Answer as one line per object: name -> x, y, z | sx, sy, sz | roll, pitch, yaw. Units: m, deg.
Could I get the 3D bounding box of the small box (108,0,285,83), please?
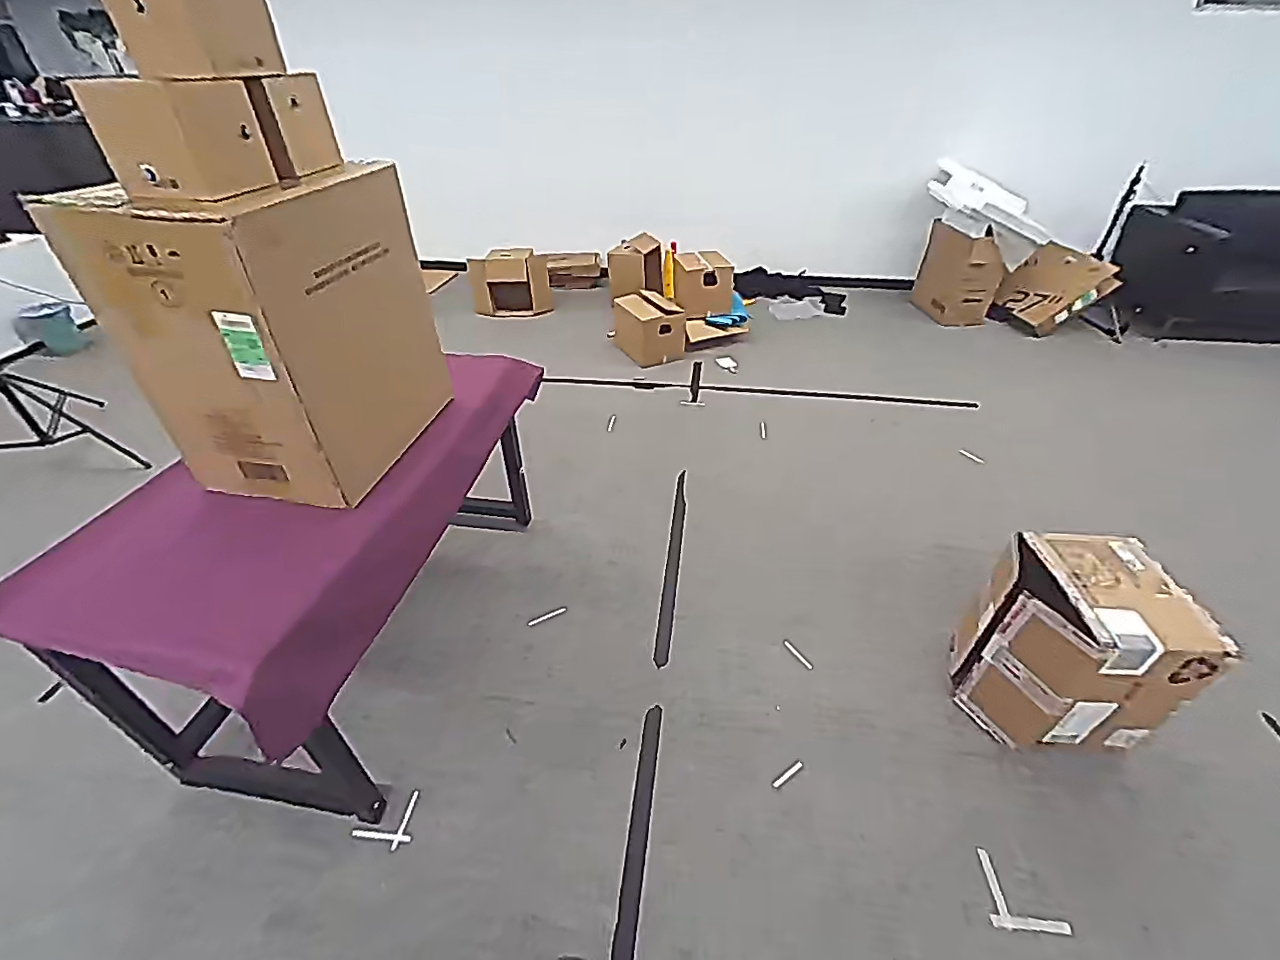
small box -> -0.781, -0.800, 0.948 | 0.179, 0.176, 0.168 | 9, 40, 13

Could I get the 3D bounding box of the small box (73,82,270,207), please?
small box -> -0.791, -0.588, 0.943 | 0.168, 0.176, 0.179 | 3, 38, 6

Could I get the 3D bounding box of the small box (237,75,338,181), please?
small box -> -0.765, -0.726, 1.117 | 0.168, 0.176, 0.179 | 4, 38, 5
